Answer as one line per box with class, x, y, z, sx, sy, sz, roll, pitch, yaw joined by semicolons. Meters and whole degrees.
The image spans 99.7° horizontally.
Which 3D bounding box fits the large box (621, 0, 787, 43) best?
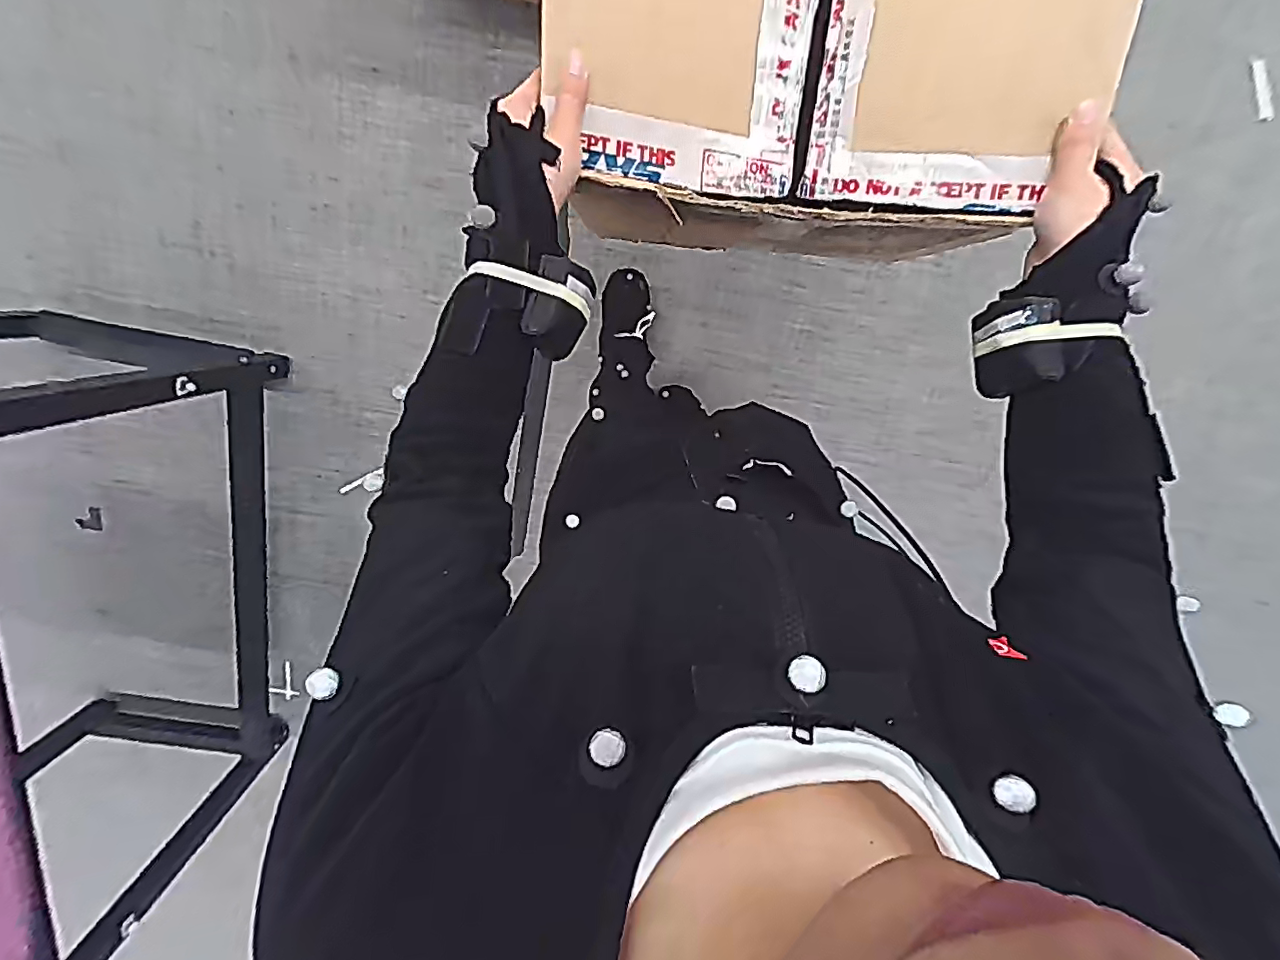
large box;0.142;-1.058;0.902;0.320;0.320;0.408;9;108;-2
